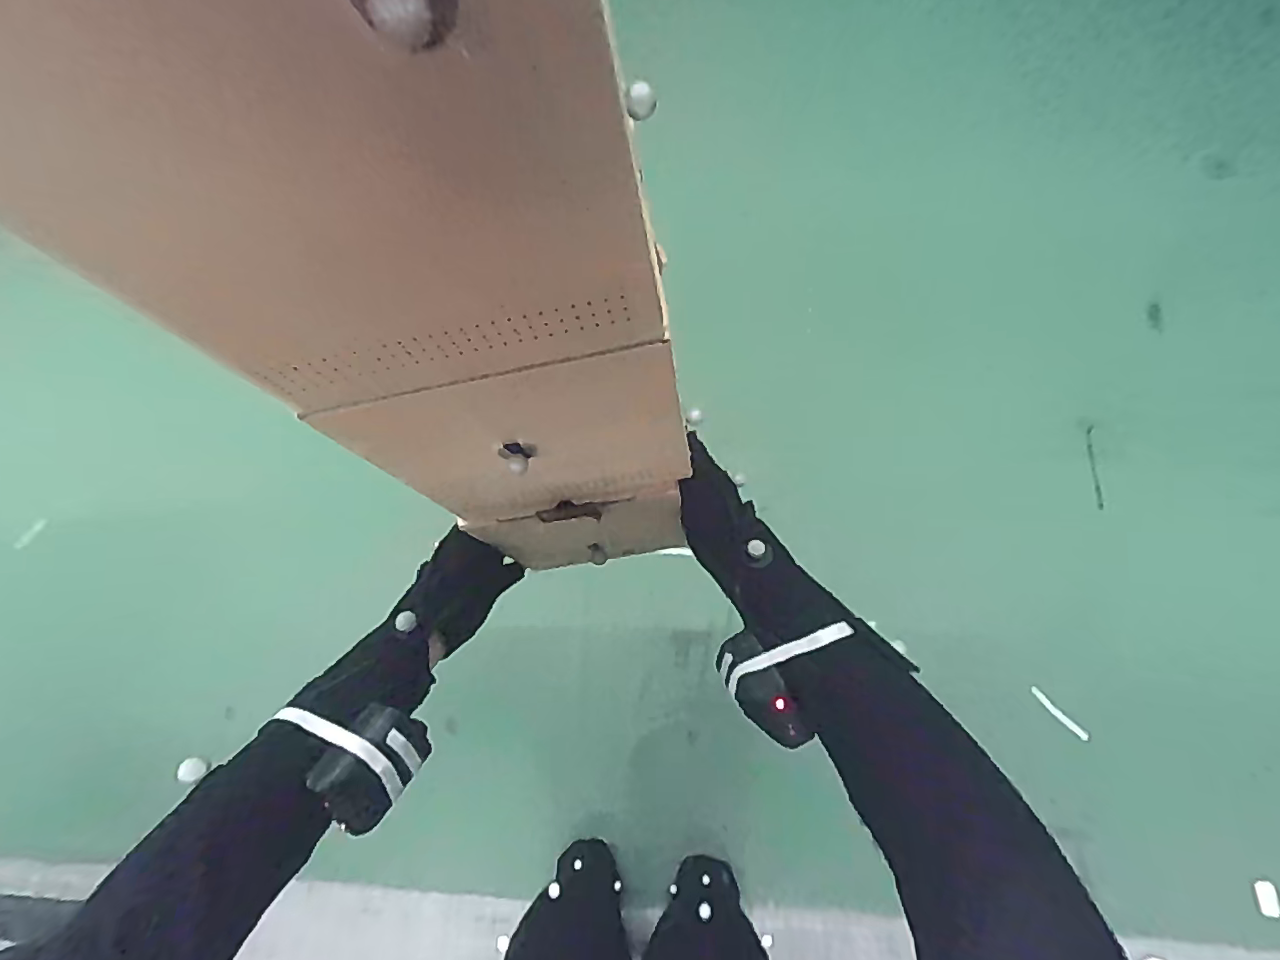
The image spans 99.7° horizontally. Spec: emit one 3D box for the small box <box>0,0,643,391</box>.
[{"bbox_3d":[-0.105,-0.151,0.190,0.179,0.176,0.168,-11,67,5],"label":"small box"}]

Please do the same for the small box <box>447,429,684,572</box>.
[{"bbox_3d":[-0.057,-0.028,0.489,0.168,0.176,0.179,-10,68,6],"label":"small box"}]

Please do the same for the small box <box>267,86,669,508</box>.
[{"bbox_3d":[-0.077,-0.093,0.336,0.179,0.176,0.168,-8,66,6],"label":"small box"}]
